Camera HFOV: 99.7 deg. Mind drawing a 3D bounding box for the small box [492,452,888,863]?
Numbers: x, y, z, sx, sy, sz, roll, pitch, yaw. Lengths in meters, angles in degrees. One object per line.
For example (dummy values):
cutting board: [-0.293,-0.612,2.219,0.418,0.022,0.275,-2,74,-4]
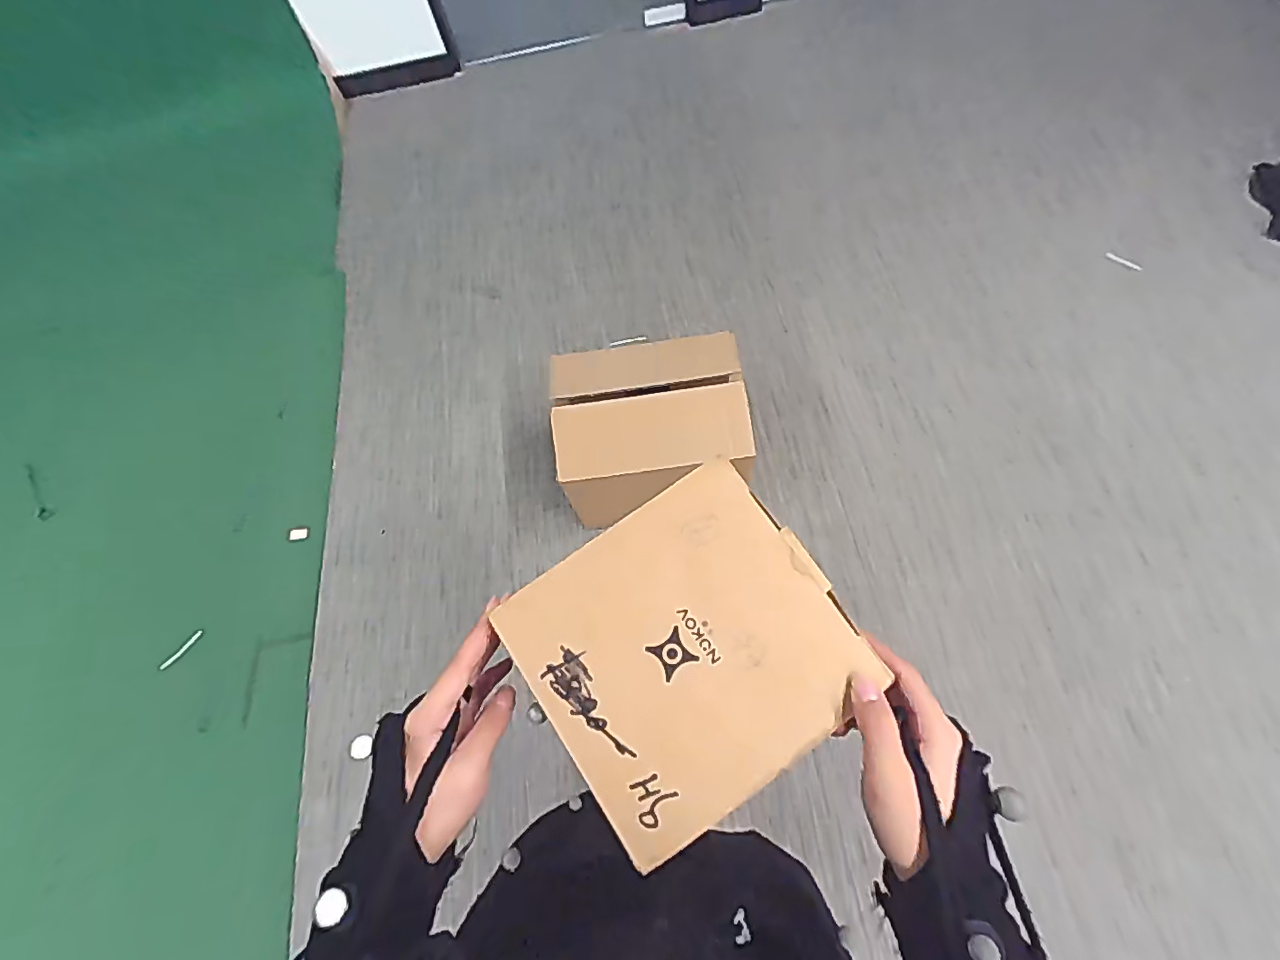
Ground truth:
small box: [0.028,0.111,0.388,0.179,0.176,0.168,-33,77,-7]
